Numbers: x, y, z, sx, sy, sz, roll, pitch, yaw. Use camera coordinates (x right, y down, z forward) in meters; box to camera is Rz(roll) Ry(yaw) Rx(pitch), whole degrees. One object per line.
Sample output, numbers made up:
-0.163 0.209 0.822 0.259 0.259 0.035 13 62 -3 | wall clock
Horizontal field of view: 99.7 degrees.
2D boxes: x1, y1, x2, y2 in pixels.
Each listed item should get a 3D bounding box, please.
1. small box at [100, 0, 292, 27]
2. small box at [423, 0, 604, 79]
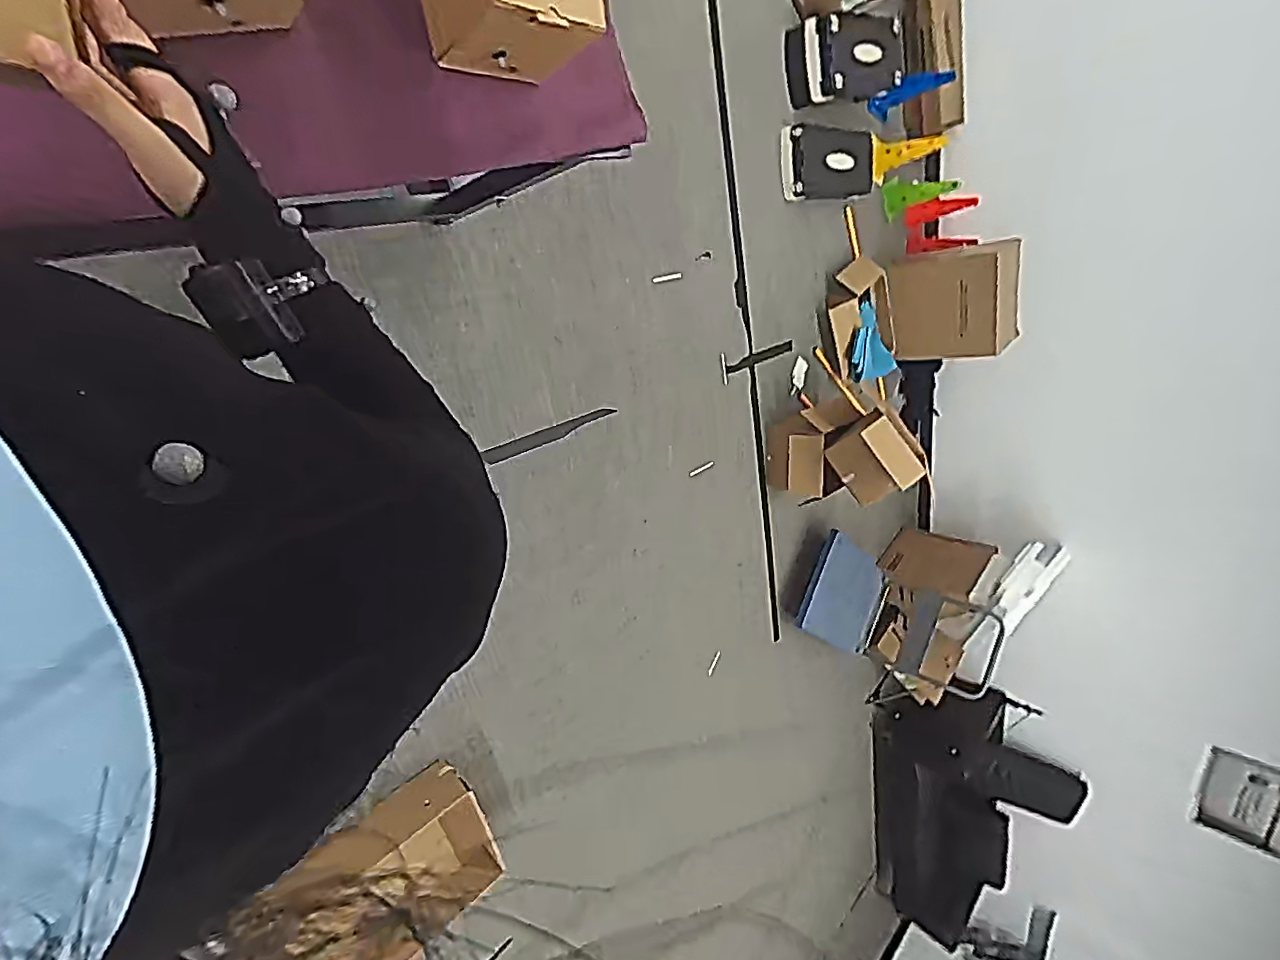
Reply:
-0.419 -0.530 0.470 0.168 0.176 0.179 -37 122 -32 | small box
-0.170 -0.647 0.677 0.168 0.176 0.179 -23 113 -38 | small box
